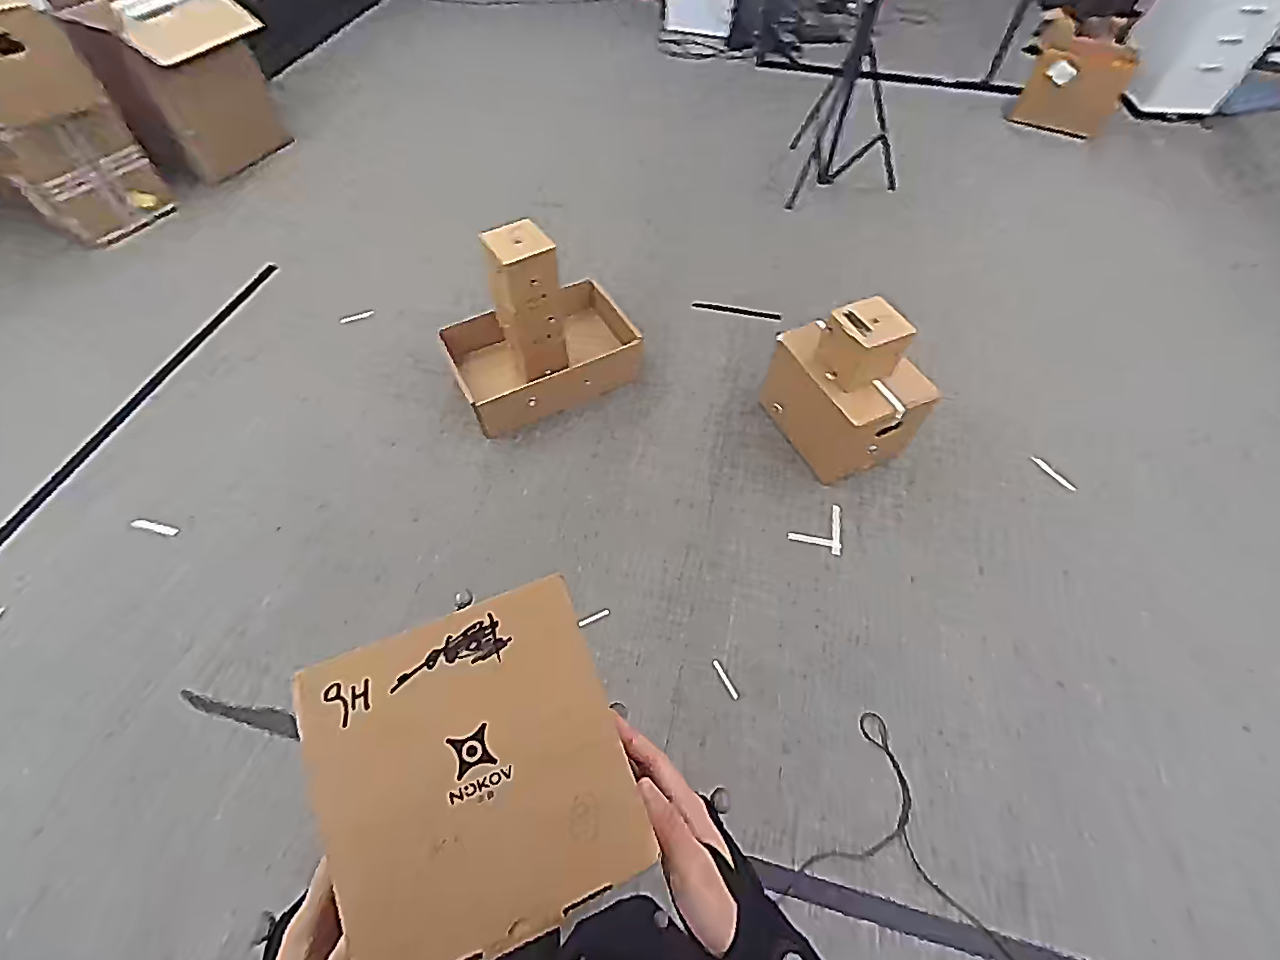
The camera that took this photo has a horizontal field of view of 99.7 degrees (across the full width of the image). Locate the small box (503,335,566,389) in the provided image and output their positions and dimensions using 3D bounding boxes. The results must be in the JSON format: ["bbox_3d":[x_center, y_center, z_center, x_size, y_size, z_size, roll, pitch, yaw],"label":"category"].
[{"bbox_3d":[-0.374,-0.455,1.902,0.168,0.176,0.179,-26,61,-17],"label":"small box"}]

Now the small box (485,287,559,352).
[{"bbox_3d":[-0.378,-0.543,1.766,0.168,0.176,0.179,-29,60,-20],"label":"small box"}]

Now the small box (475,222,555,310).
[{"bbox_3d":[-0.371,-0.636,1.630,0.168,0.176,0.179,-29,62,-20],"label":"small box"}]

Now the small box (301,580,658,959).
[{"bbox_3d":[-0.102,0.187,0.387,0.168,0.176,0.179,-19,77,-13],"label":"small box"}]
